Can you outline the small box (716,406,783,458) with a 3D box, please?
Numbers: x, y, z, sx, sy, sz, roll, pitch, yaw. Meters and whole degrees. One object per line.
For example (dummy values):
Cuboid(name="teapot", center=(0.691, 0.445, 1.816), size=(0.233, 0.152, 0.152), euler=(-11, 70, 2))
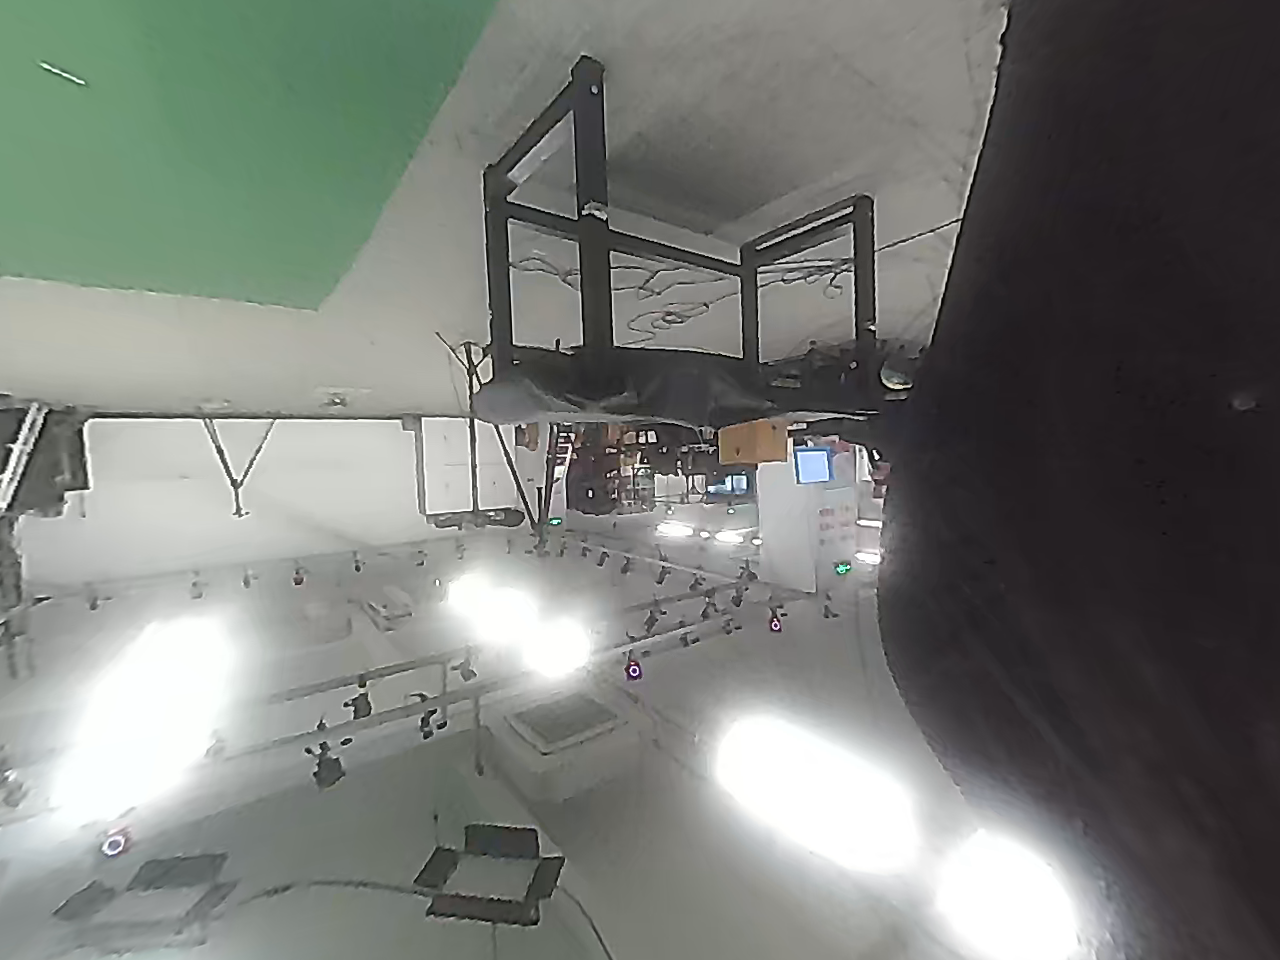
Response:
Cuboid(name="small box", center=(0.384, -0.163, 1.889), size=(0.168, 0.176, 0.179), euler=(-3, -177, -35))
